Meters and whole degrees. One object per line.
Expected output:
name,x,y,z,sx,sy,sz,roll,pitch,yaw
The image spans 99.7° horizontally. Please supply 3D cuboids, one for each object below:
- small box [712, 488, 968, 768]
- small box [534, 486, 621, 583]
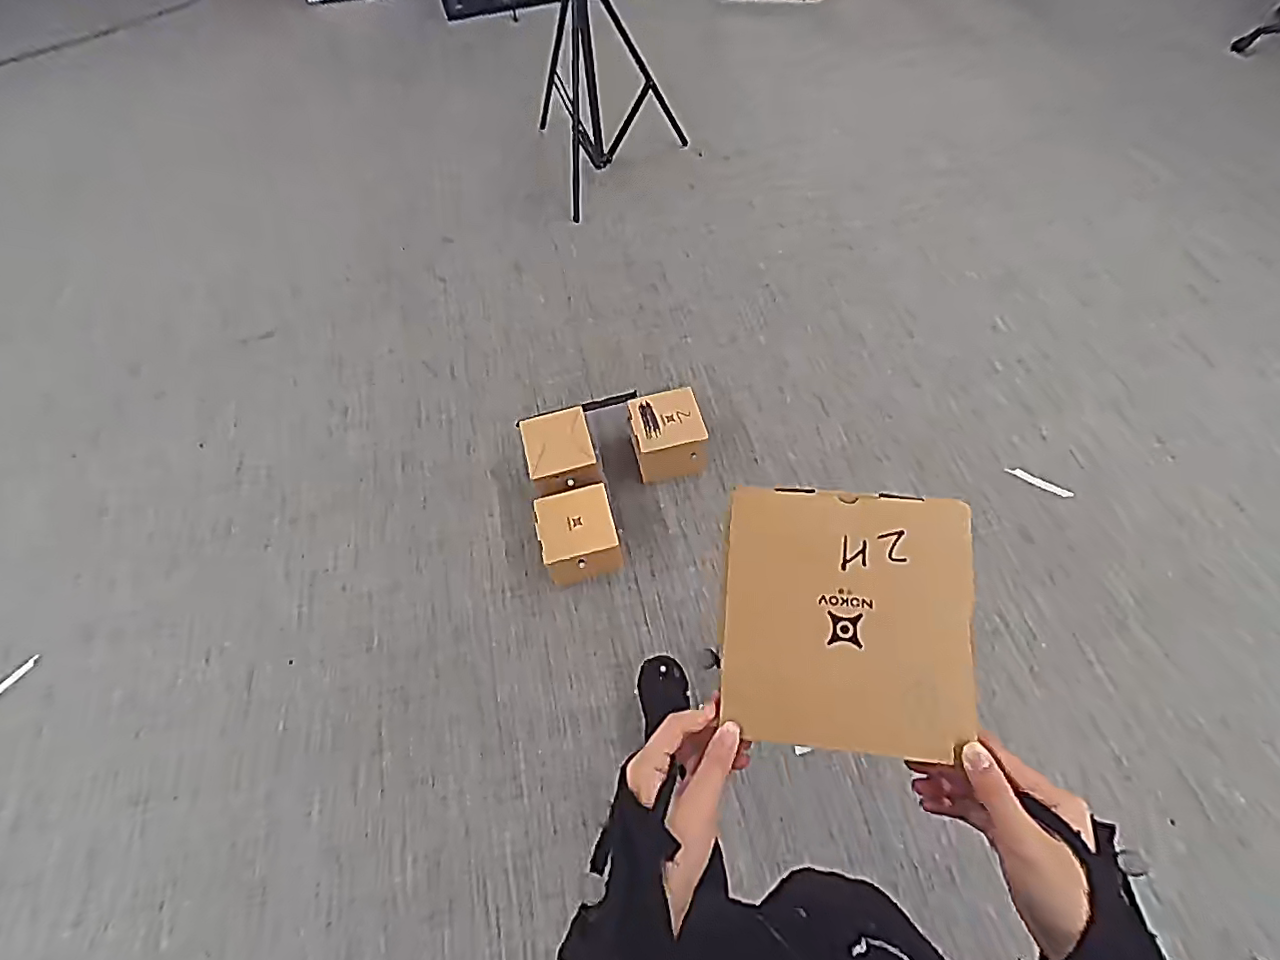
small box,0.150,0.112,0.454,0.168,0.176,0.179,4,78,7
small box,-0.147,0.138,1.322,0.179,0.176,0.168,-14,64,-4
